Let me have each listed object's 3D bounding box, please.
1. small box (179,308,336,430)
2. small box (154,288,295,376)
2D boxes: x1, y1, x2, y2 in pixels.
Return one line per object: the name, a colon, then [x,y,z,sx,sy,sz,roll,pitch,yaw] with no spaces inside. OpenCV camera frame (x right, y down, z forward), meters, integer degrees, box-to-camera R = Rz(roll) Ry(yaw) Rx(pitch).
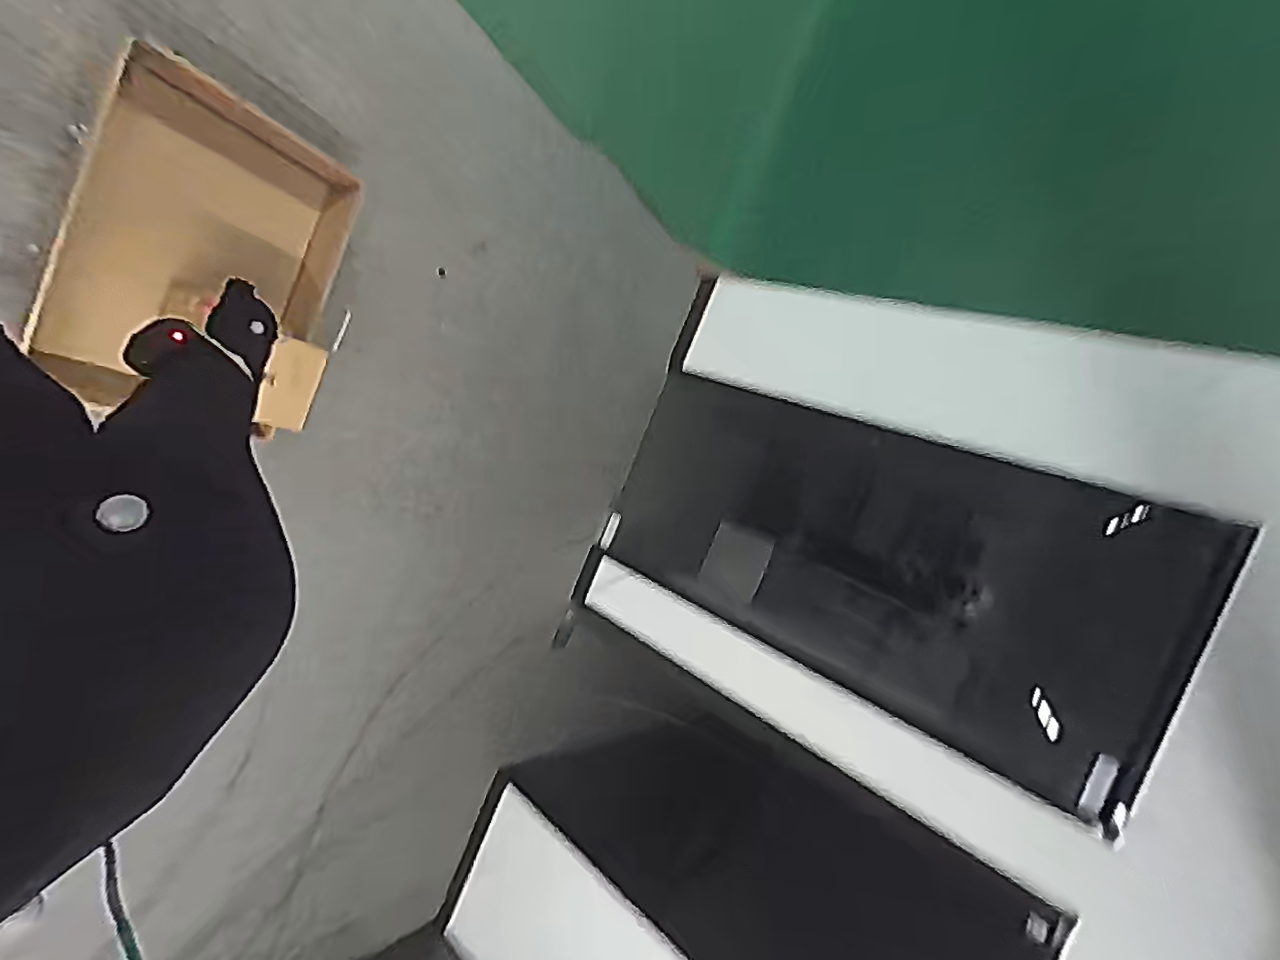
small box: [-0.726,-0.211,1.023,0.179,0.176,0.168,19,94,-57]
small box: [-0.862,-0.285,1.120,0.179,0.176,0.168,10,99,-57]
